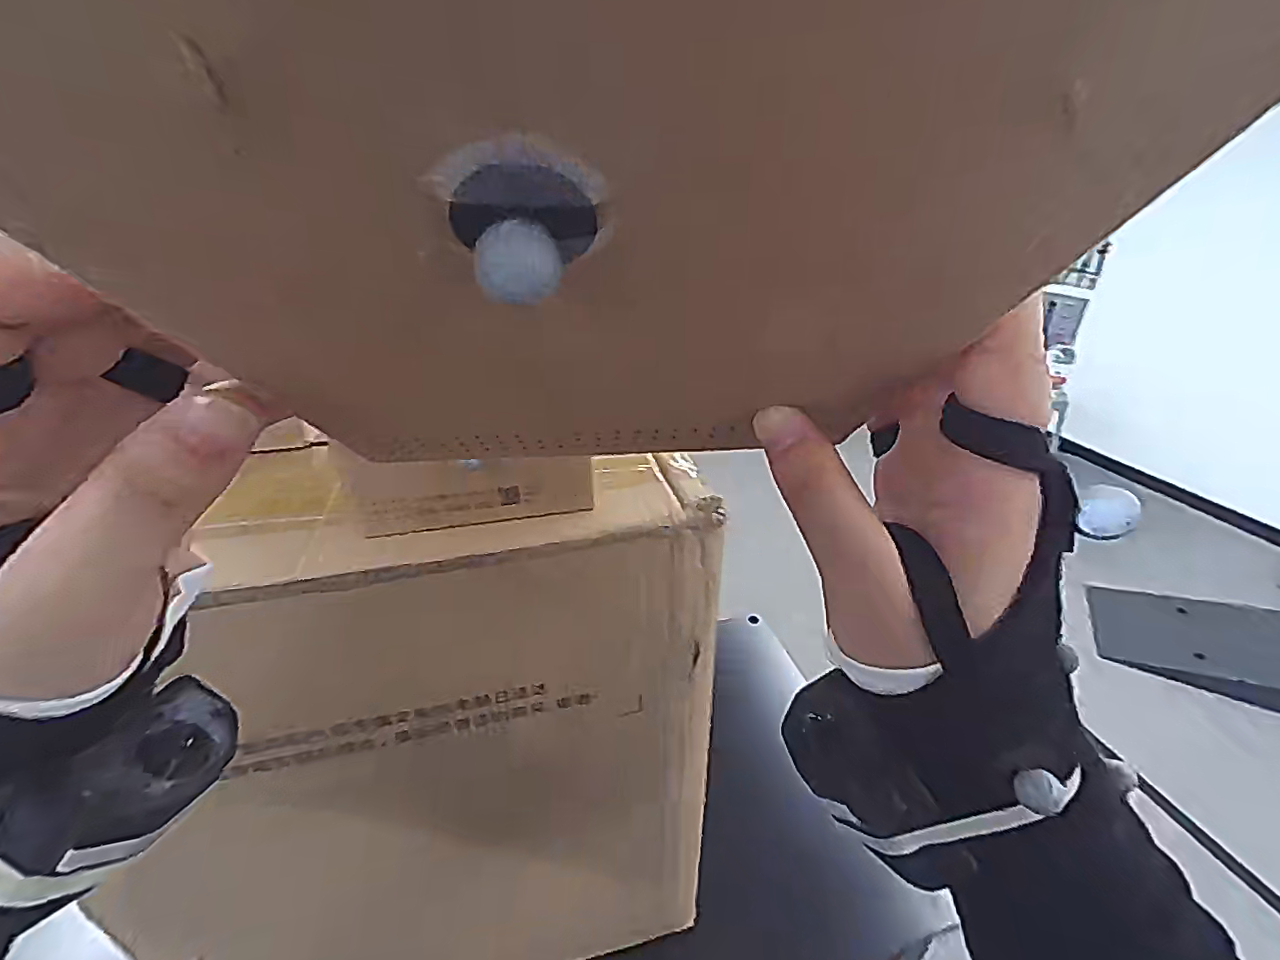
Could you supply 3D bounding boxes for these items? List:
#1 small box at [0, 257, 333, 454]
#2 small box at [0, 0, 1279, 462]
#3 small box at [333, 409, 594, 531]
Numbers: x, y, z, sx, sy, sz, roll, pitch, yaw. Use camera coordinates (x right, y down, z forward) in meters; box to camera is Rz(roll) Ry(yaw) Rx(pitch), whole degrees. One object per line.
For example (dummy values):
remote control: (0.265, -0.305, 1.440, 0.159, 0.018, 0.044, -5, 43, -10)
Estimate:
small box: (-0.396, -0.130, 0.504, 0.168, 0.176, 0.179, -6, 29, -14)
small box: (-0.005, -0.104, 0.138, 0.179, 0.168, 0.176, -2, -13, -4)
small box: (-0.129, -0.081, 0.416, 0.168, 0.176, 0.179, -7, 30, -10)
